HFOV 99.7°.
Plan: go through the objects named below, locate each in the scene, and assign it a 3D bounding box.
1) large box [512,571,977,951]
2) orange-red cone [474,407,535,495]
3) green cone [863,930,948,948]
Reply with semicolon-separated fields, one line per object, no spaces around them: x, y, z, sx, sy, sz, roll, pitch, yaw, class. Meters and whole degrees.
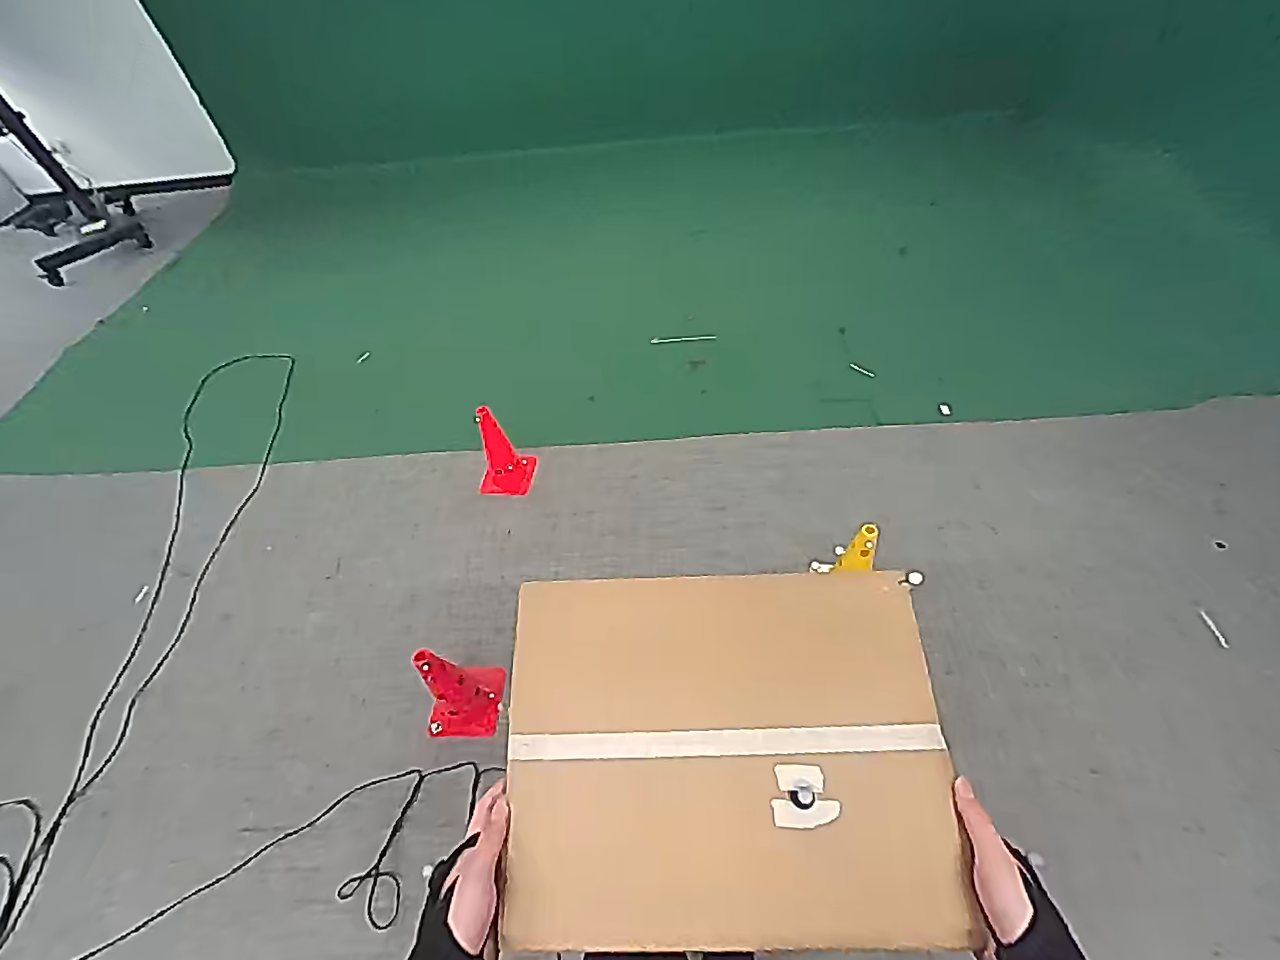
0.085;0.307;0.650;0.408;0.320;0.320;-3;67;1;large box
-0.545;-0.129;2.008;0.199;0.360;0.198;2;51;9;orange-red cone
0.575;0.830;1.116;0.200;0.368;0.202;1;50;7;green cone
